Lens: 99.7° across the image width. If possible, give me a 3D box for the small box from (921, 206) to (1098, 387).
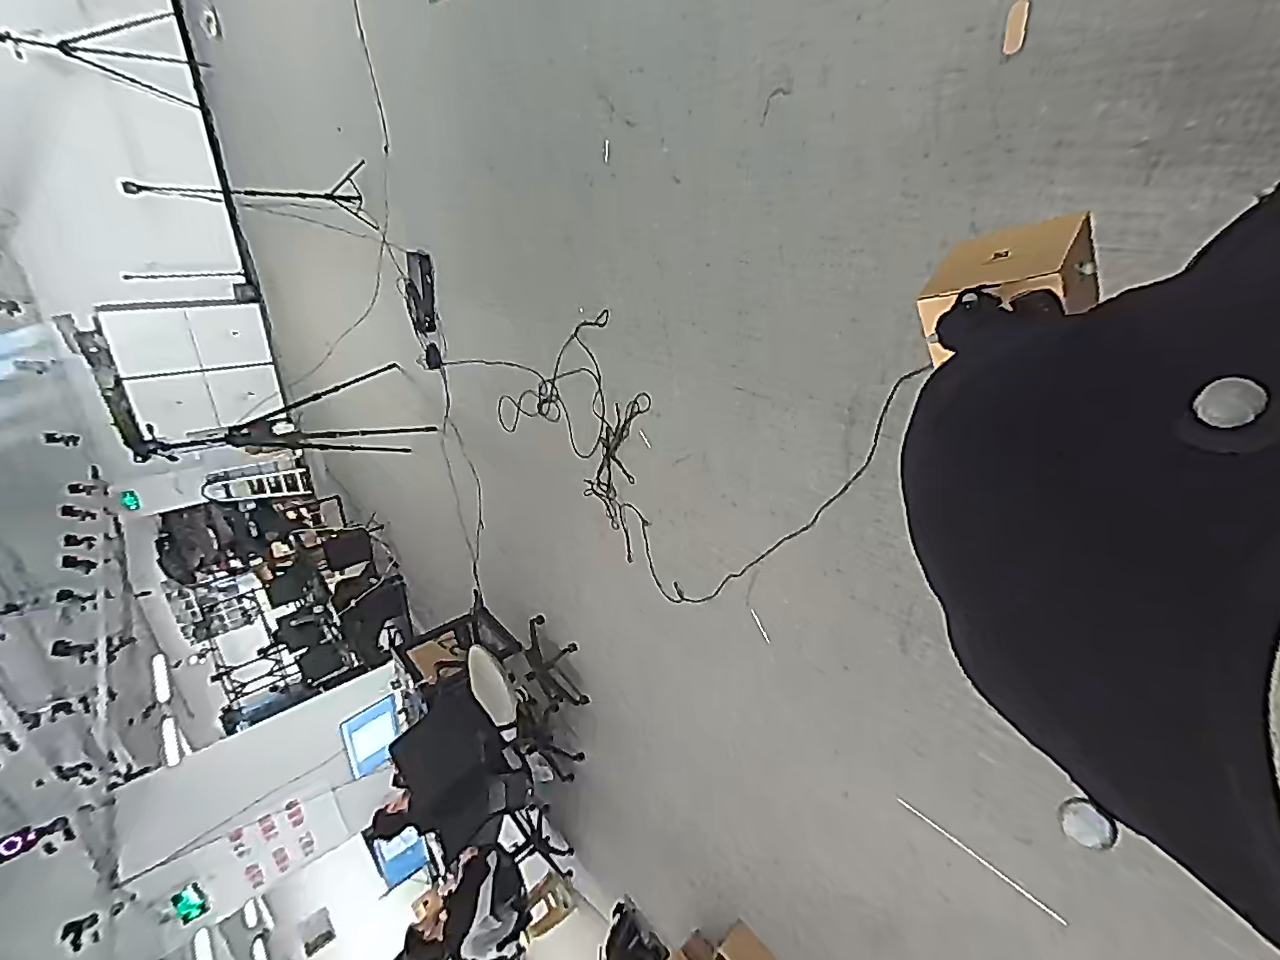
[{"bbox_3d":[0.535,-0.253,0.776,0.168,0.179,0.176,4,134,49],"label":"small box"}]
